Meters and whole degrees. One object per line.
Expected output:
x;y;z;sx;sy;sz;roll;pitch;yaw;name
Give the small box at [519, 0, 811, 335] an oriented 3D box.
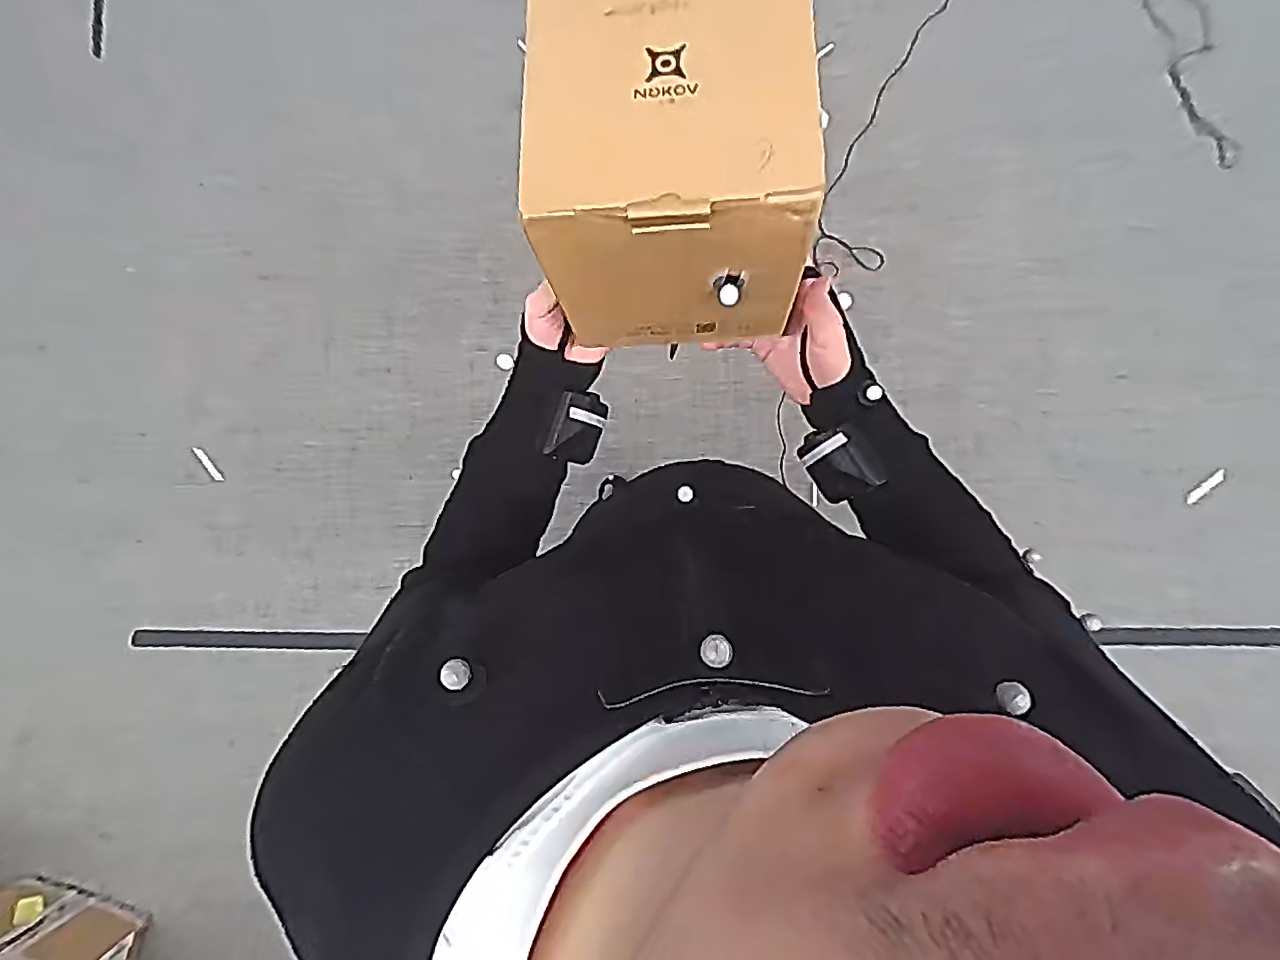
0.020;-0.217;0.391;0.168;0.176;0.179;-2;78;5;small box
